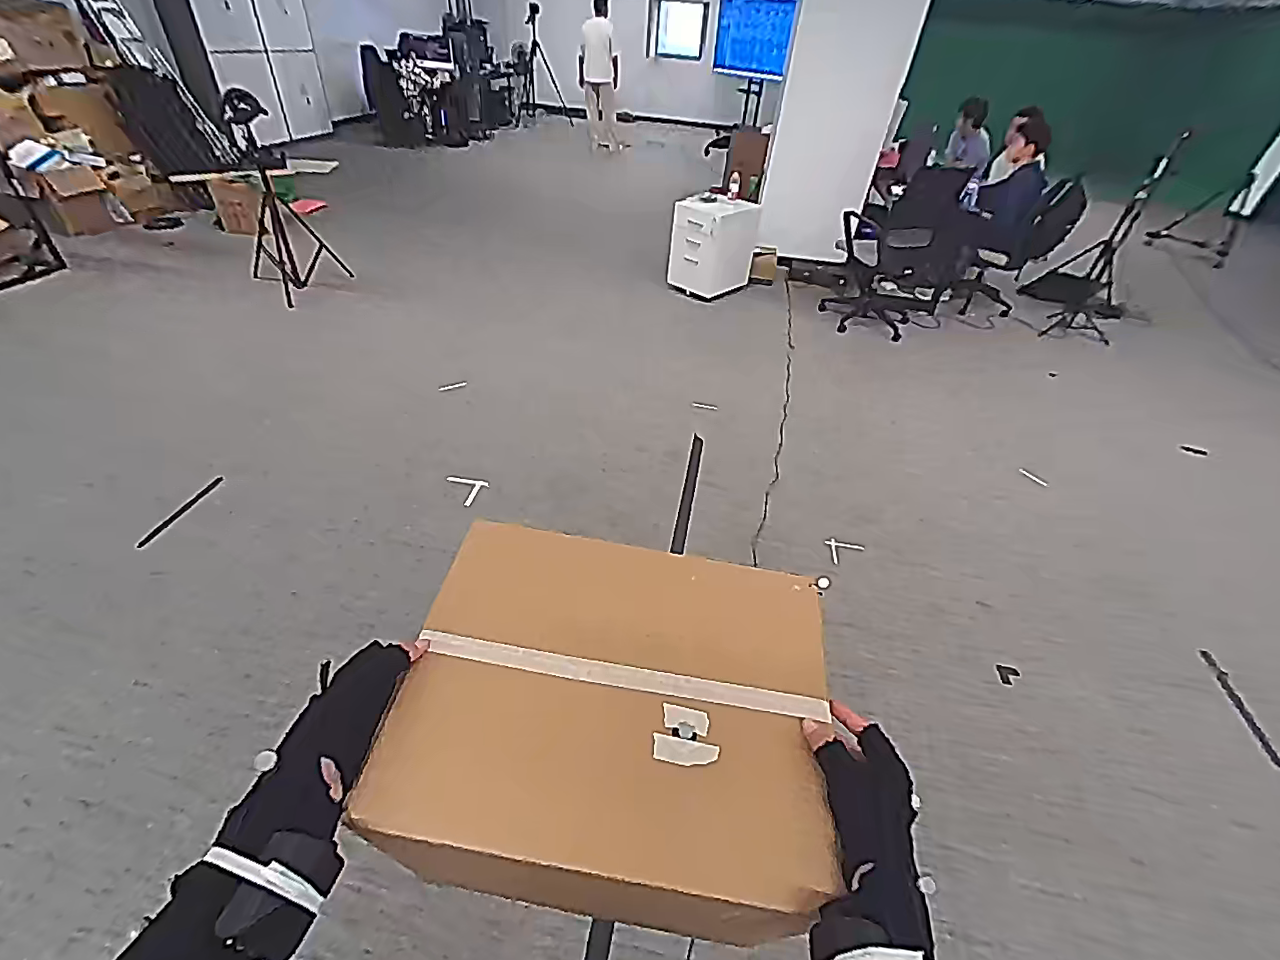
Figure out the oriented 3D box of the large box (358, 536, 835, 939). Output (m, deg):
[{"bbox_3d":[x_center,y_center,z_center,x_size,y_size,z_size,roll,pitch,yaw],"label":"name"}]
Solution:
[{"bbox_3d":[-0.033,0.306,0.645,0.408,0.320,0.320,10,47,2],"label":"large box"}]
